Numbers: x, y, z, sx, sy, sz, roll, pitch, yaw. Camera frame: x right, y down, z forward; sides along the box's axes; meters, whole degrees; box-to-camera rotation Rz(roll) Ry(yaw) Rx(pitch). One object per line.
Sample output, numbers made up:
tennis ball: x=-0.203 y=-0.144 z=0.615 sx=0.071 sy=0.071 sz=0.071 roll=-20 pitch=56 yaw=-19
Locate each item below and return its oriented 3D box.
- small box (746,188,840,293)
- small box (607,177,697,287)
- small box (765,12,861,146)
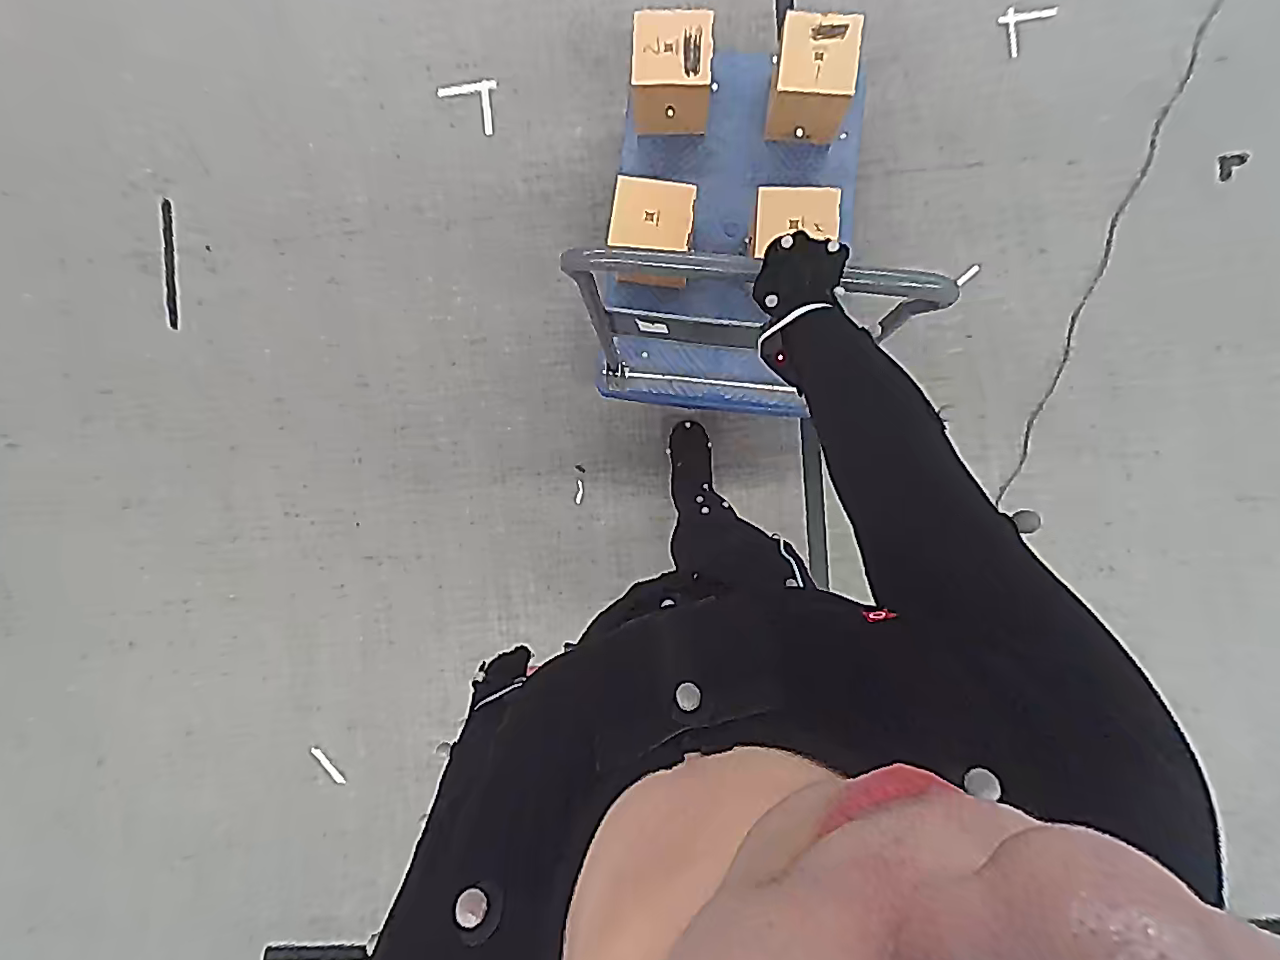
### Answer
small box: x=0.338 y=-0.534 z=1.225 sx=0.179 sy=0.176 sz=0.168 roll=4 pitch=88 yaw=4
small box: x=0.030 y=-0.562 z=1.246 sx=0.179 sy=0.176 sz=0.168 roll=9 pitch=89 yaw=2
small box: x=0.386 y=-0.907 z=1.234 sx=0.168 sy=0.176 sz=0.179 roll=7 pitch=90 yaw=4
